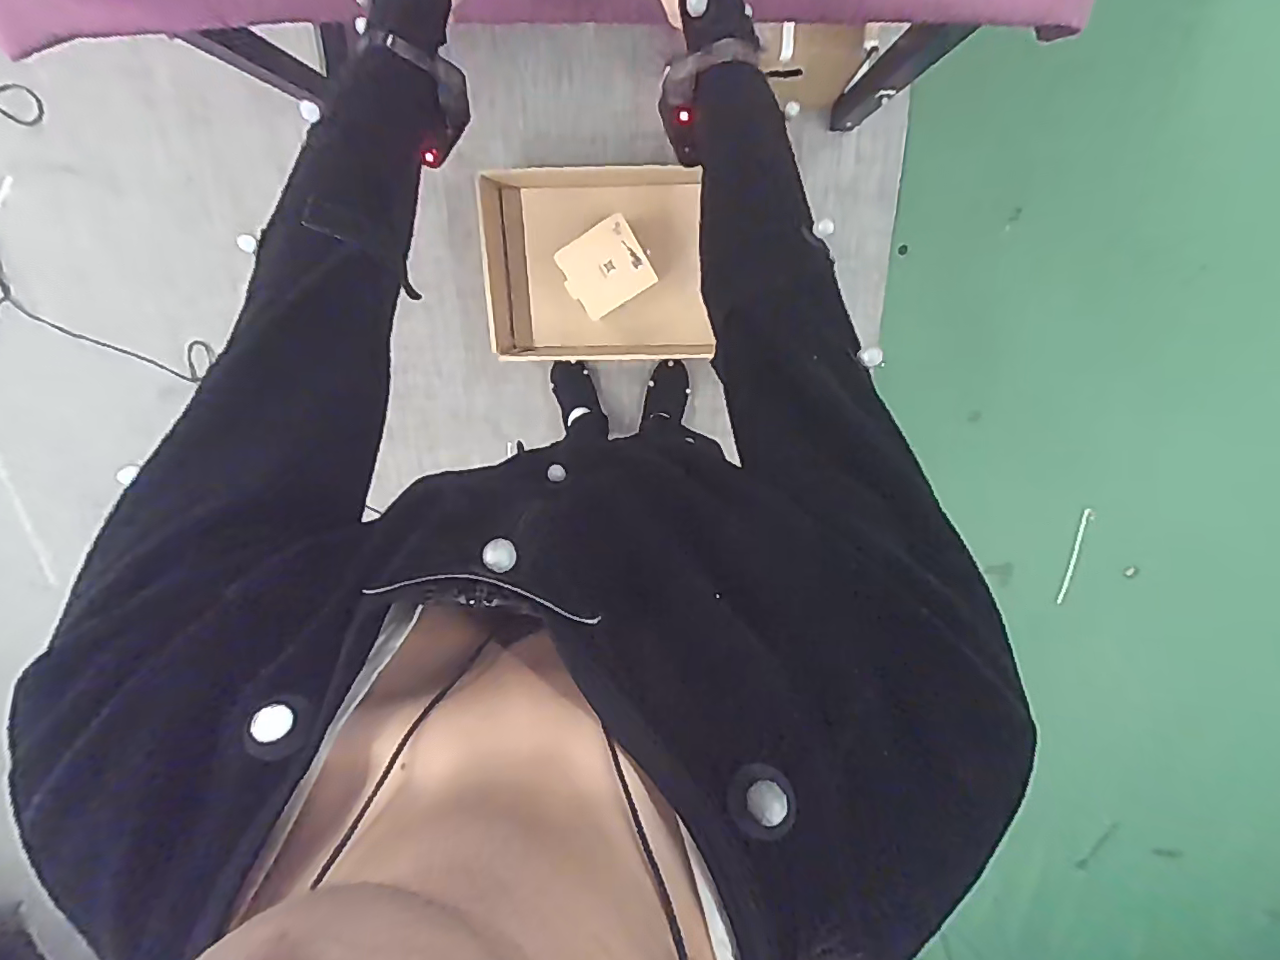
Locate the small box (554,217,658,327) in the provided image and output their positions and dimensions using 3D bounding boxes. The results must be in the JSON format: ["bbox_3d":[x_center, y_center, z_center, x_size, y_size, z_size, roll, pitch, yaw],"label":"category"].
[{"bbox_3d":[-0.069,-0.468,1.239,0.179,0.176,0.168,-29,106,12],"label":"small box"}]

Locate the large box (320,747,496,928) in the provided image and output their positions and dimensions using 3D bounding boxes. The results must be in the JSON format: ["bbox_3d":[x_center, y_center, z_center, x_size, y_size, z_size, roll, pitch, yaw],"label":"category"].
[{"bbox_3d":[-0.765,1.195,1.829,0.408,0.320,0.320,29,108,-6],"label":"large box"}]
